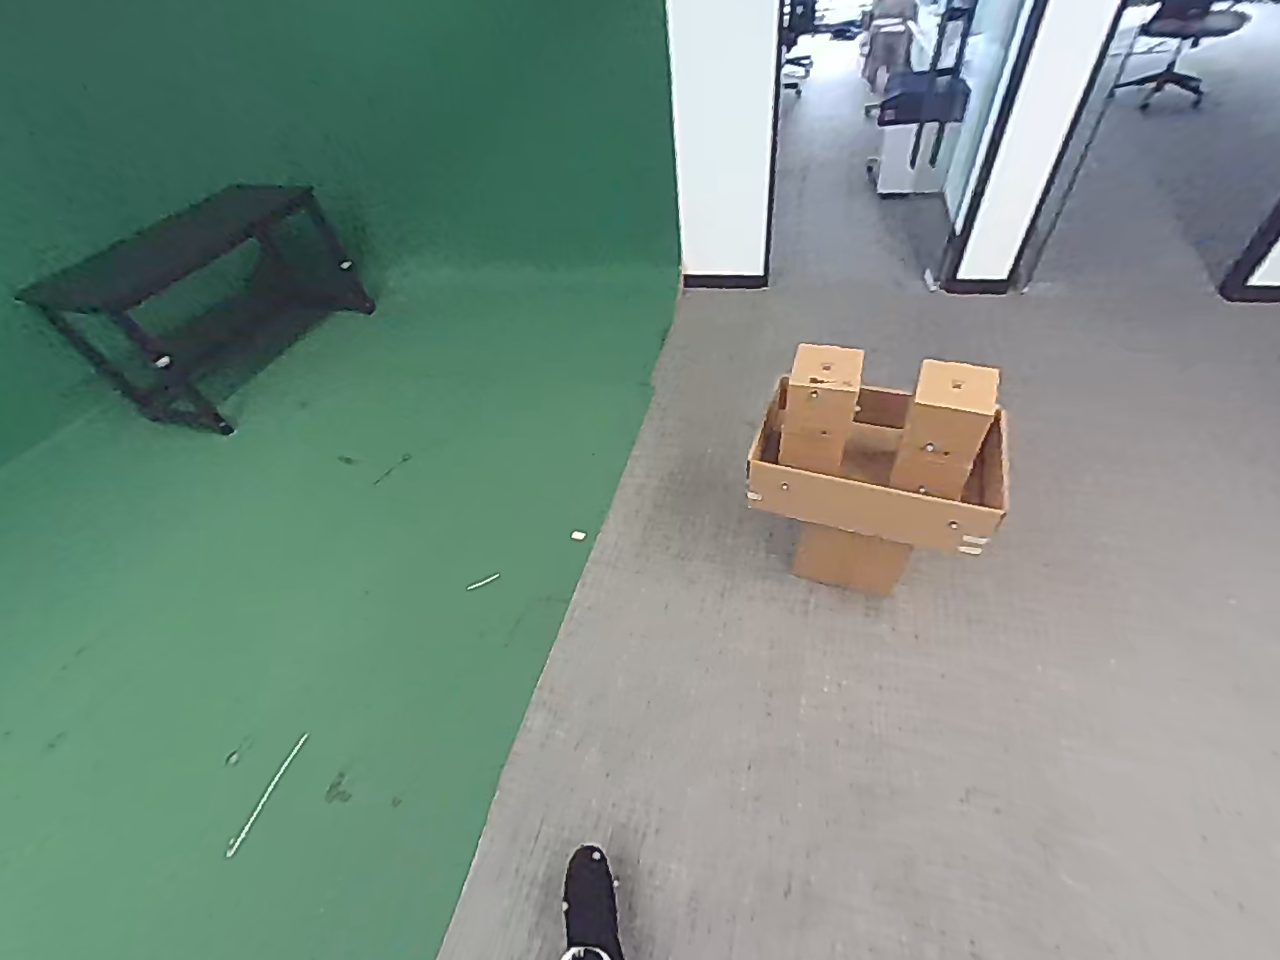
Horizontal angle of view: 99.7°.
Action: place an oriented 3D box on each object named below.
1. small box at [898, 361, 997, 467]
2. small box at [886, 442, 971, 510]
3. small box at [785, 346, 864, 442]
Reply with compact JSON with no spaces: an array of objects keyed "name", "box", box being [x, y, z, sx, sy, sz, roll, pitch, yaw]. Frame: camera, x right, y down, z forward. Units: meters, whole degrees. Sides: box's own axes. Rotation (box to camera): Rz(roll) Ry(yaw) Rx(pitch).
[{"name":"small box","box":[0.746,-0.161,1.319,0.168,0.176,0.179,16,52,22]},{"name":"small box","box":[0.768,-0.051,1.437,0.168,0.176,0.179,16,53,22]},{"name":"small box","box":[0.479,-0.226,1.416,0.168,0.176,0.179,10,50,18]}]
